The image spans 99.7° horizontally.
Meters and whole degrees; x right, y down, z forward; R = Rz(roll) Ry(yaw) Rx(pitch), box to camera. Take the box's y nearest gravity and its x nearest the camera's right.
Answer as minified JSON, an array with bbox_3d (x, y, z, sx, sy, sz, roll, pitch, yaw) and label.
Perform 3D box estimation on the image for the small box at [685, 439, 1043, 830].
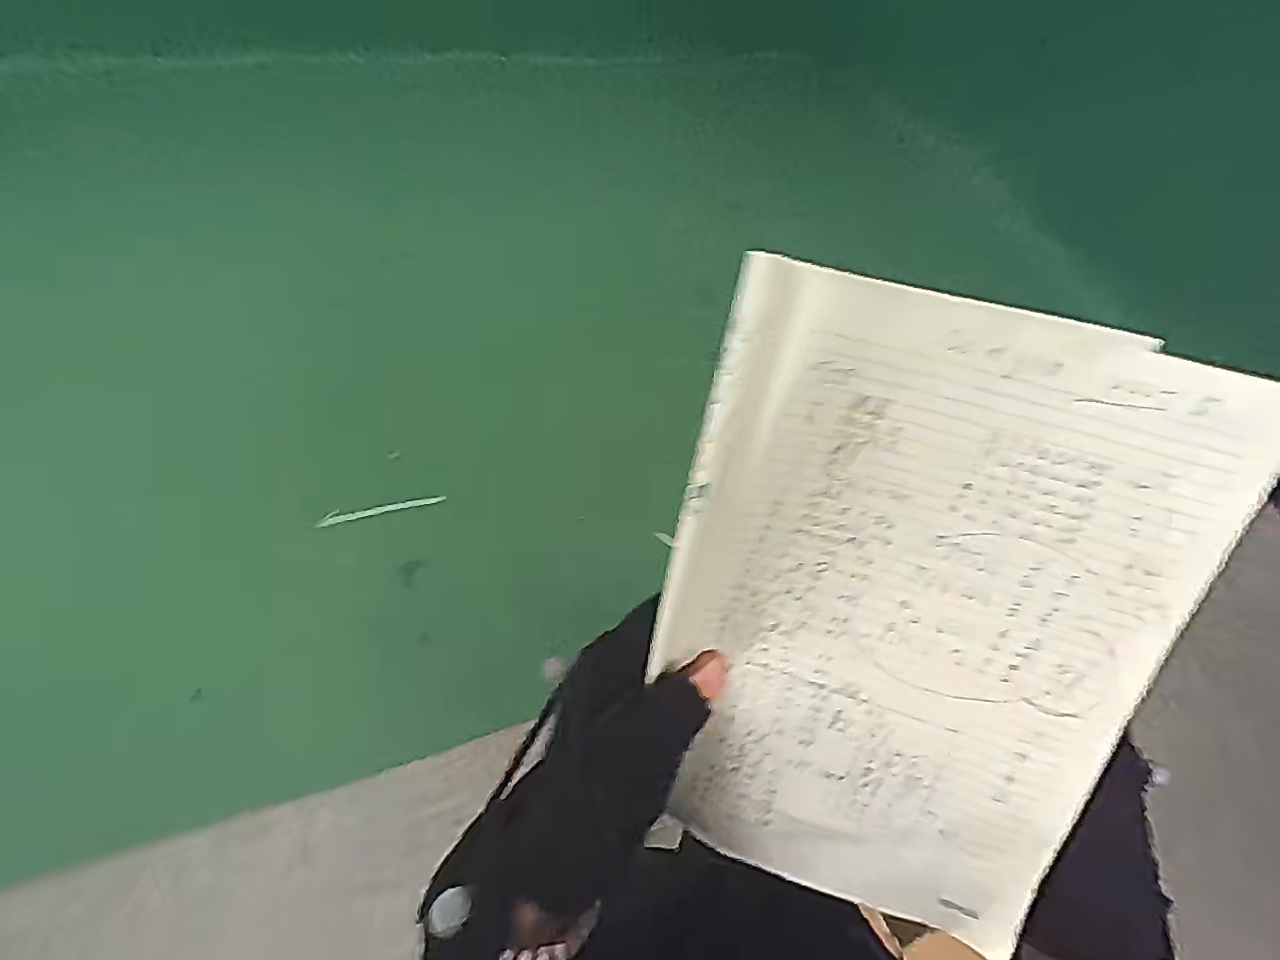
[{"bbox_3d":[0.120,0.082,0.353,0.168,0.176,0.179,7,84,5],"label":"small box"}]
